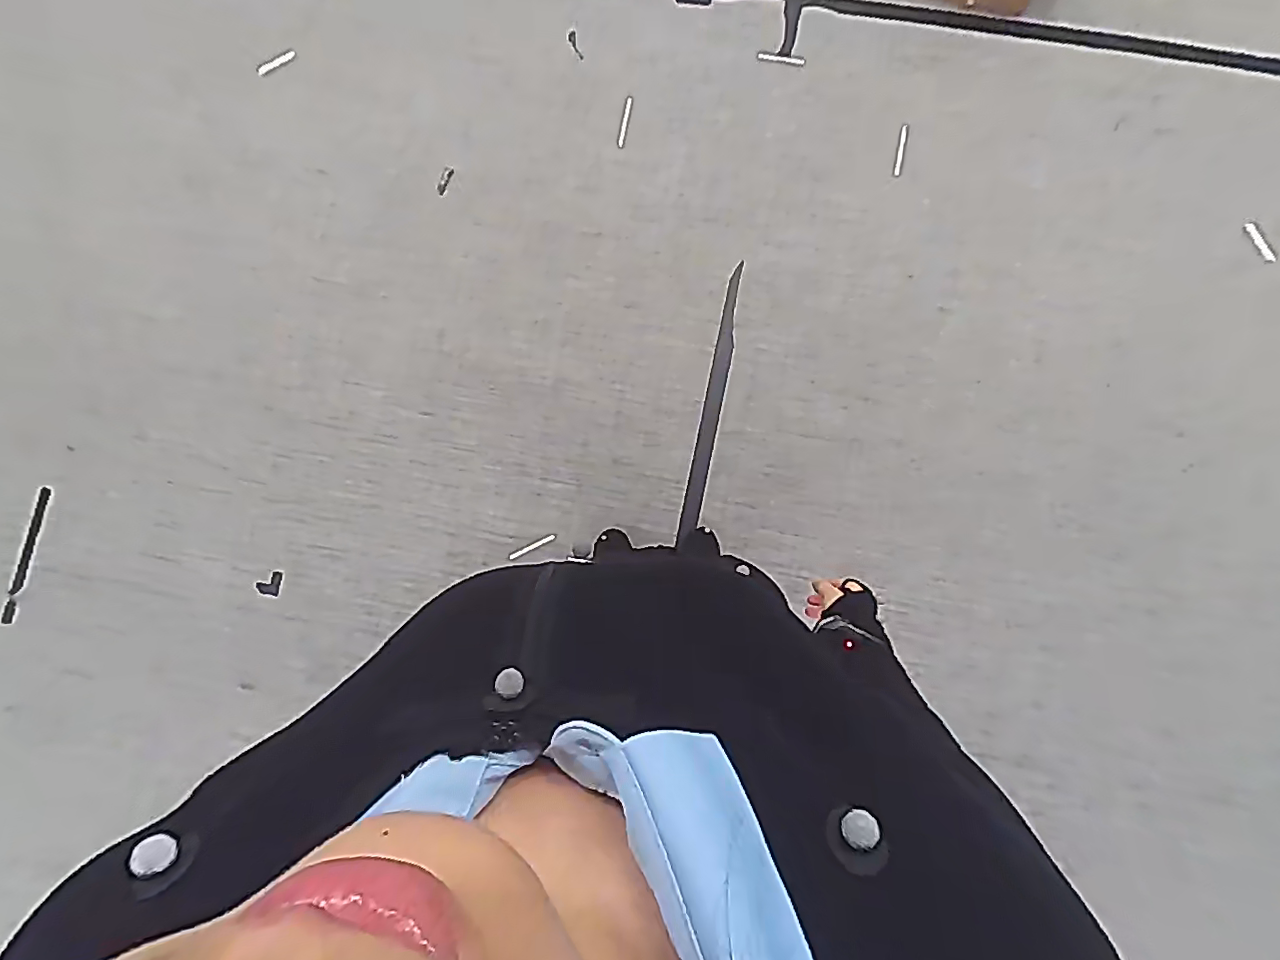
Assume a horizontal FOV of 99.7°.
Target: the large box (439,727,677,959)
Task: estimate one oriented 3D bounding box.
[{"bbox_3d":[-0.143,0.767,1.144,0.408,0.320,0.320,11,85,3],"label":"large box"}]
